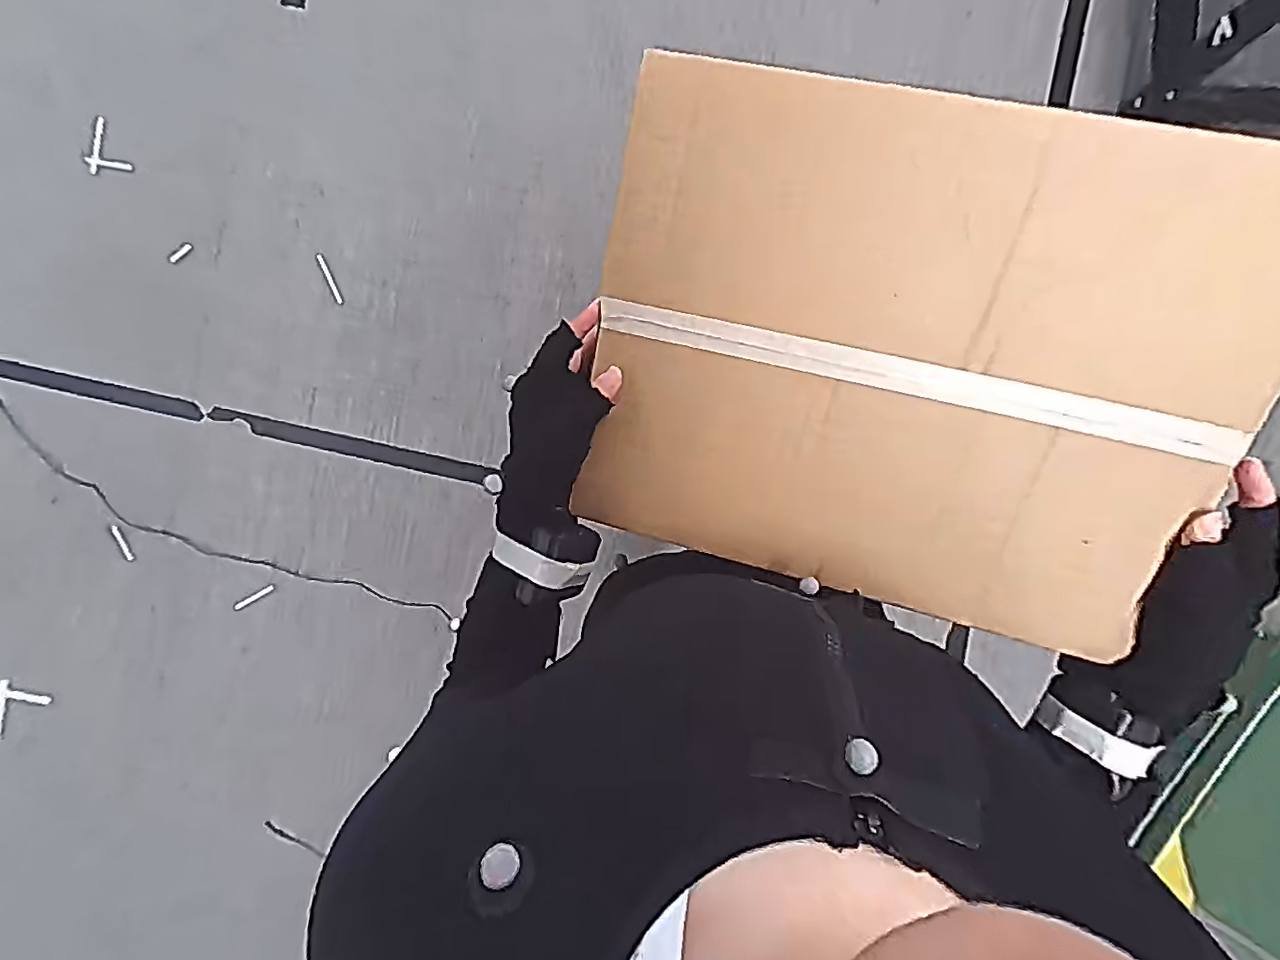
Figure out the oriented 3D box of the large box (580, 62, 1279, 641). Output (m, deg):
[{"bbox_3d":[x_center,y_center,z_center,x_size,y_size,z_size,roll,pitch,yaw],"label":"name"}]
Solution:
[{"bbox_3d":[0.197,-0.114,0.498,0.408,0.320,0.320,15,109,8],"label":"large box"}]
